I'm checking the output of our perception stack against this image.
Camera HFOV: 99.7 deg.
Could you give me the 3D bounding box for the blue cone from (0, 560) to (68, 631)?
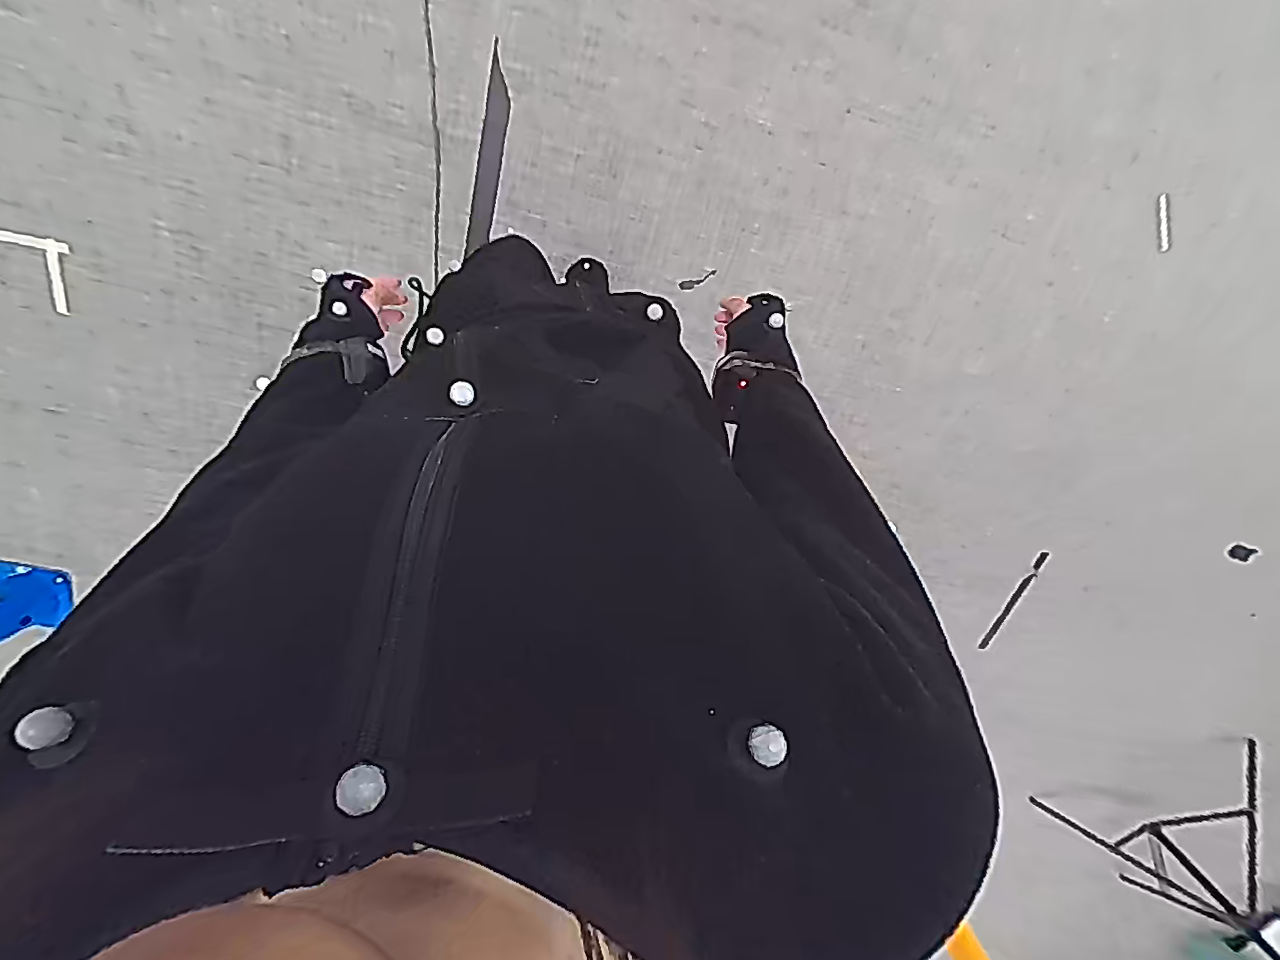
[{"bbox_3d":[-1.647,0.375,1.315,0.193,0.380,0.192,16,111,-12],"label":"blue cone"}]
